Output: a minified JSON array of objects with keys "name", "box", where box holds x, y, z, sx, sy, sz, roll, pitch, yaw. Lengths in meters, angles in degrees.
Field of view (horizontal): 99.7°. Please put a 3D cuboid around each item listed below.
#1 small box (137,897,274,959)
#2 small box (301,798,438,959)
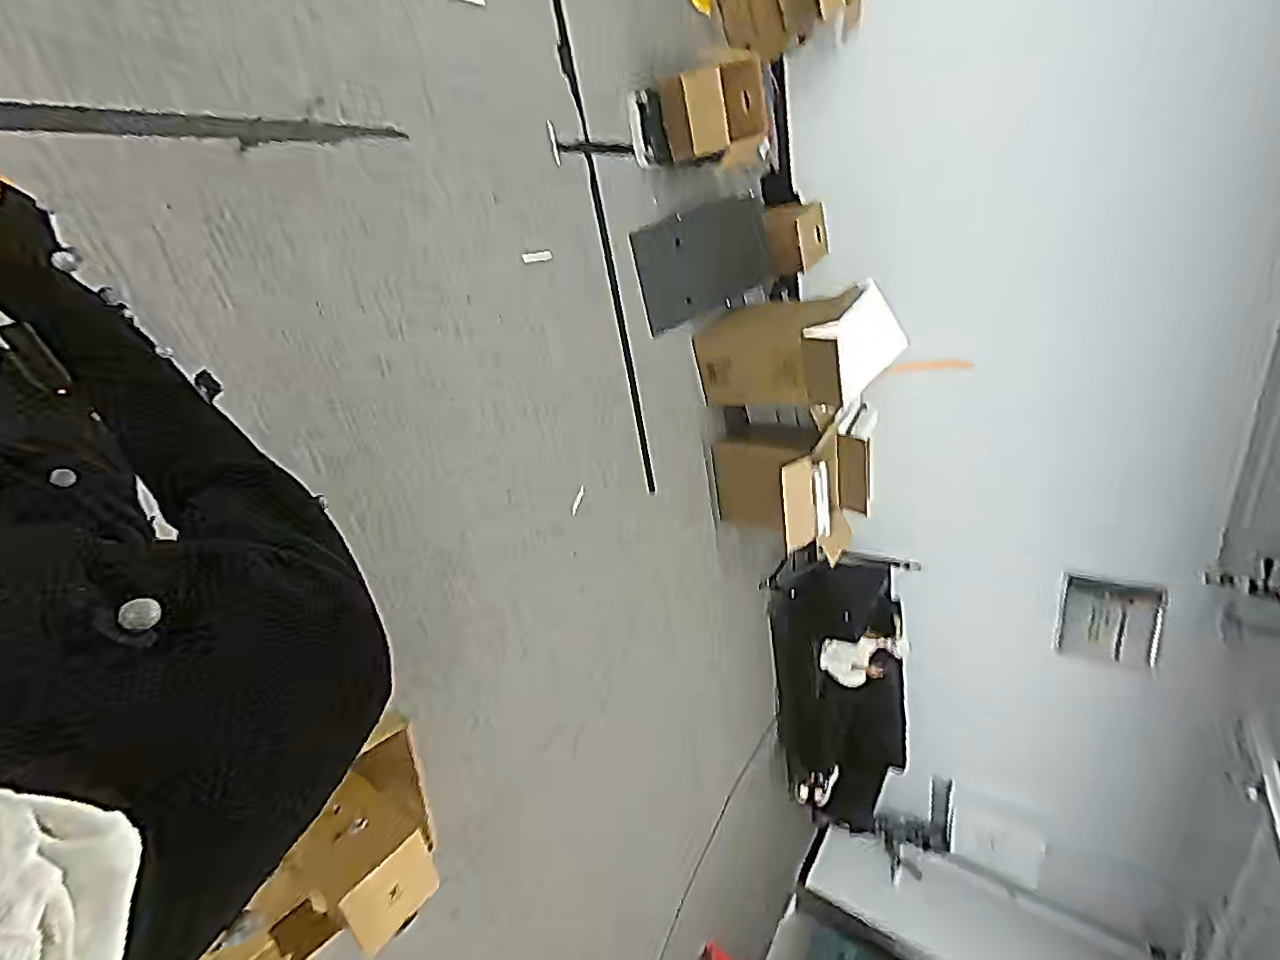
[{"name":"small box","box":[-0.712,0.848,0.896,0.168,0.176,0.179,-26,117,-48]},{"name":"small box","box":[-0.548,0.797,1.099,0.168,0.176,0.179,-31,121,-48]}]
